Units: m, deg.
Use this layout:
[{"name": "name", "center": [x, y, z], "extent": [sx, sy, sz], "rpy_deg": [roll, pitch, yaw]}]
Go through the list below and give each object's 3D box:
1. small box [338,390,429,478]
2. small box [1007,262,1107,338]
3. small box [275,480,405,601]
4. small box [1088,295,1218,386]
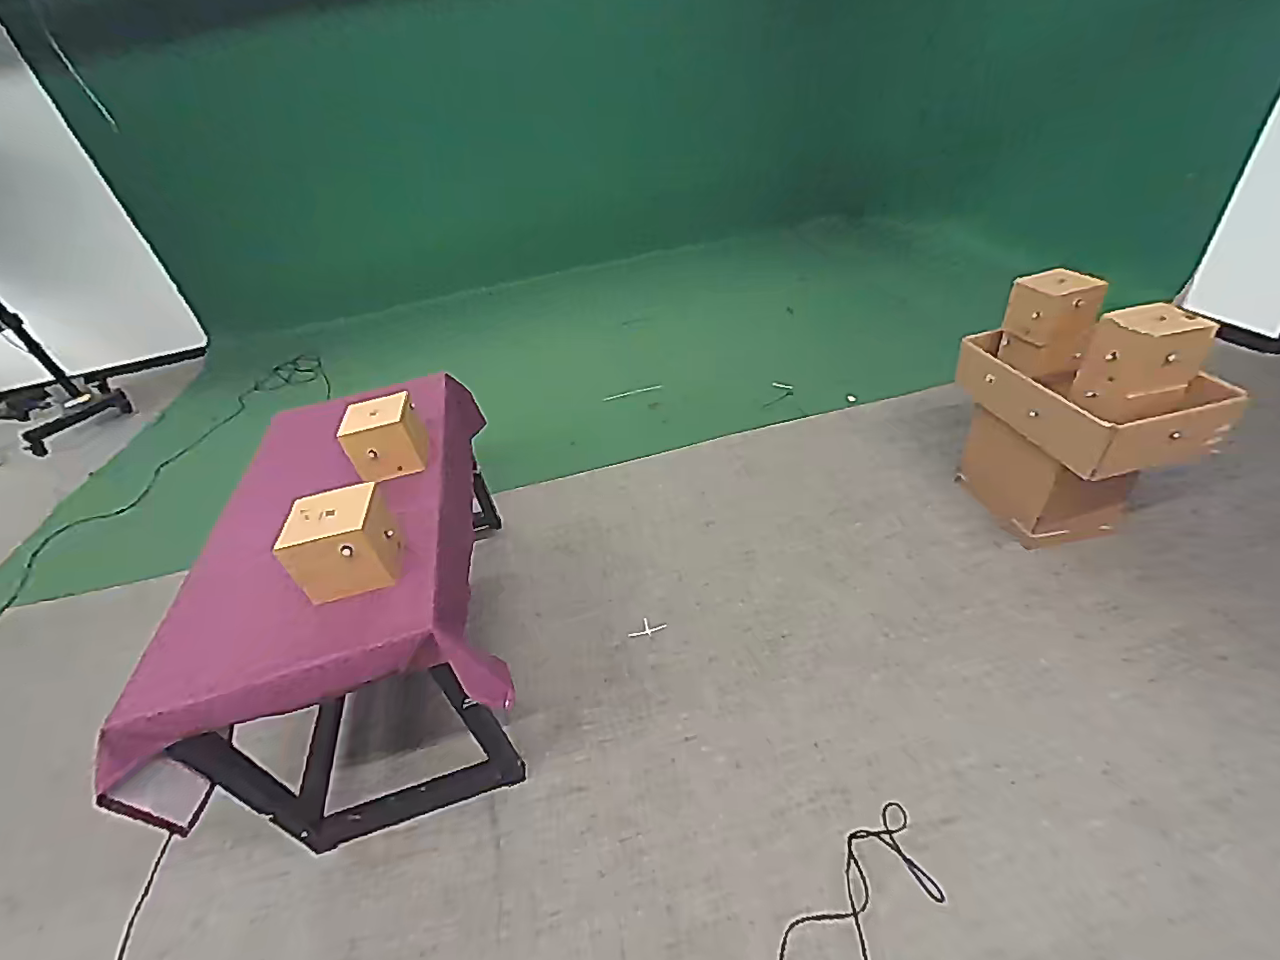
[{"name": "small box", "center": [-0.702, -0.122, 1.504], "extent": [0.168, 0.176, 0.179], "rpy_deg": [-16, 38, -5]}, {"name": "small box", "center": [1.297, -0.564, 1.703], "extent": [0.179, 0.176, 0.168], "rpy_deg": [-15, 39, -6]}, {"name": "small box", "center": [-0.631, 0.131, 1.167], "extent": [0.179, 0.176, 0.168], "rpy_deg": [-15, 38, -4]}, {"name": "small box", "center": [1.354, -0.370, 1.448], "extent": [0.179, 0.176, 0.168], "rpy_deg": [-12, 39, 0]}]
